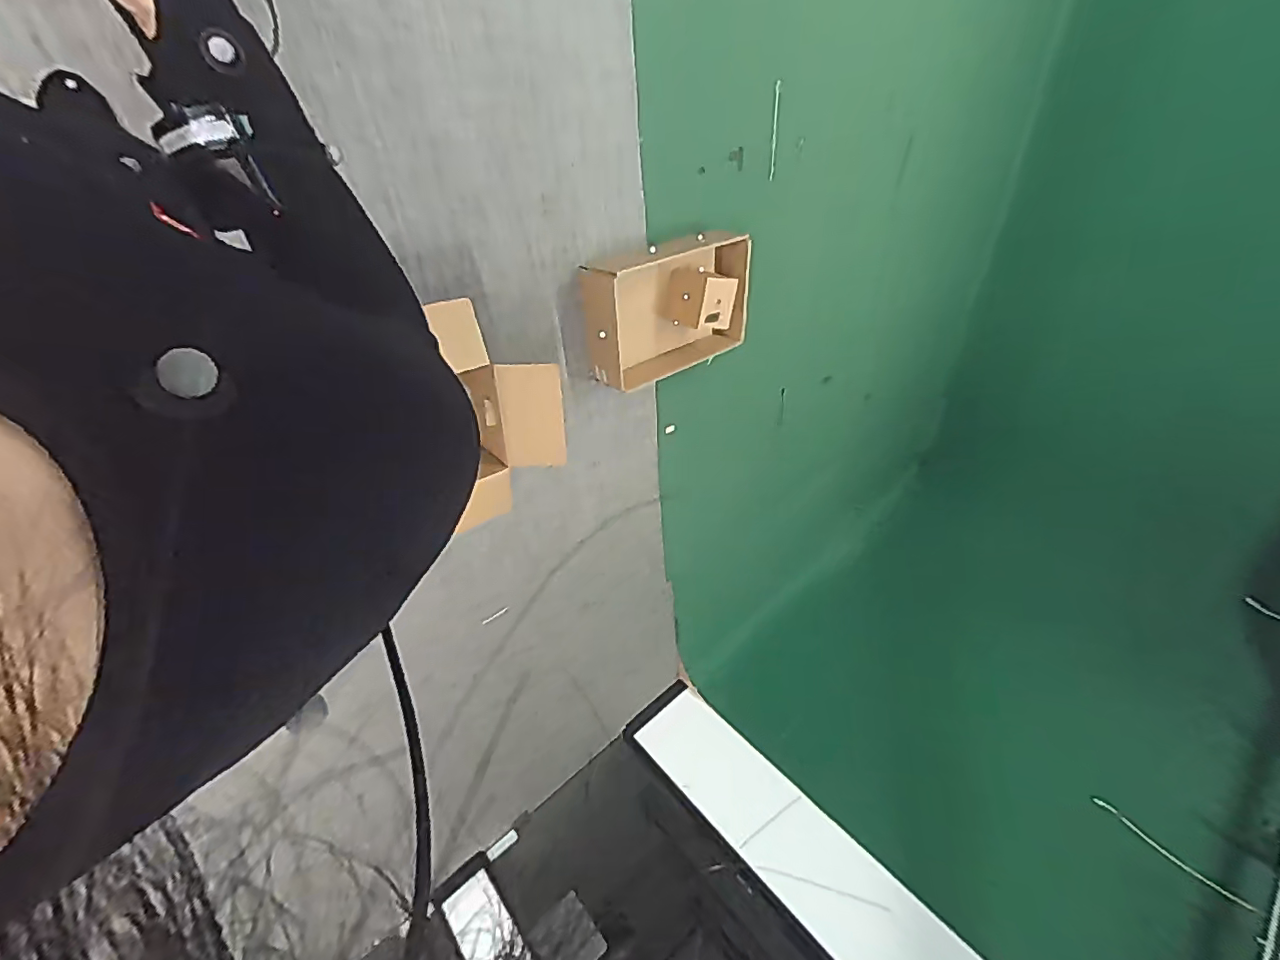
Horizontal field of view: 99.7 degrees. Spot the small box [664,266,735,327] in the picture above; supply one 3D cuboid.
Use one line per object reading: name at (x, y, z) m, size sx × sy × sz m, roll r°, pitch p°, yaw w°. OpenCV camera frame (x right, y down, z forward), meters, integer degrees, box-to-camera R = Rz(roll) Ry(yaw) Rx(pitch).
small box at (0.207, -0.654, 1.929) m, size 0.168 × 0.176 × 0.179 m, roll -14°, pitch 125°, yaw -39°
